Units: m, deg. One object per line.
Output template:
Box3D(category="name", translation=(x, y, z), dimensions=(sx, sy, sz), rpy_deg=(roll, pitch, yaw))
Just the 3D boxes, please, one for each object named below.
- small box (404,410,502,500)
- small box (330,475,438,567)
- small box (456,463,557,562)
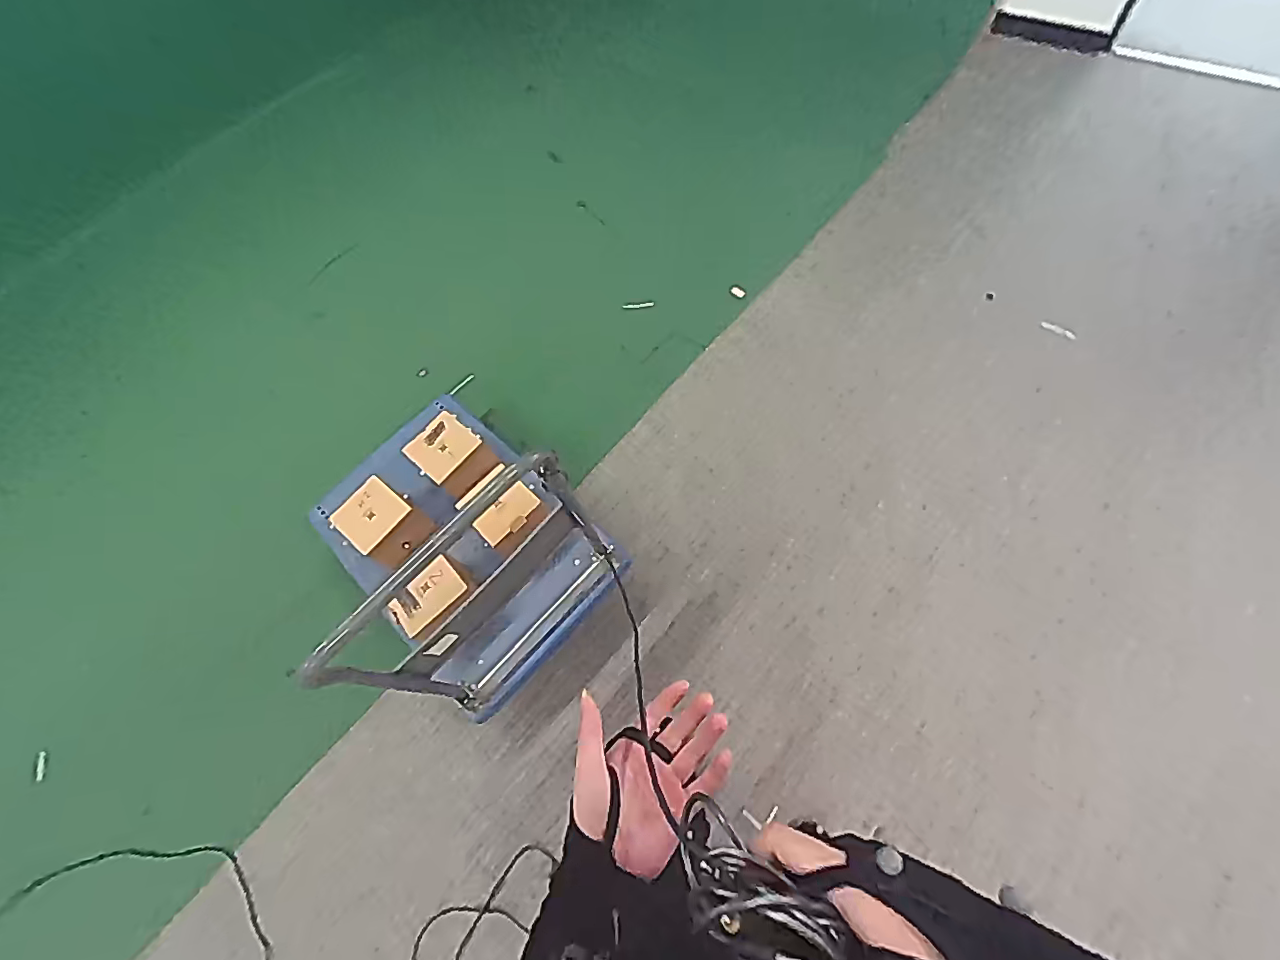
Box3D(category="small box", translation=(-0.530, -0.062, 1.554), dimensions=(0.179, 0.176, 0.168), rpy_deg=(37, 77, 21))
Box3D(category="small box", translation=(-0.700, 0.122, 1.497), dimensions=(0.179, 0.176, 0.168), rpy_deg=(35, 74, 22))
Box3D(category="small box", translation=(-0.351, 0.094, 1.453), dimensions=(0.179, 0.176, 0.168), rpy_deg=(41, 77, 22))
